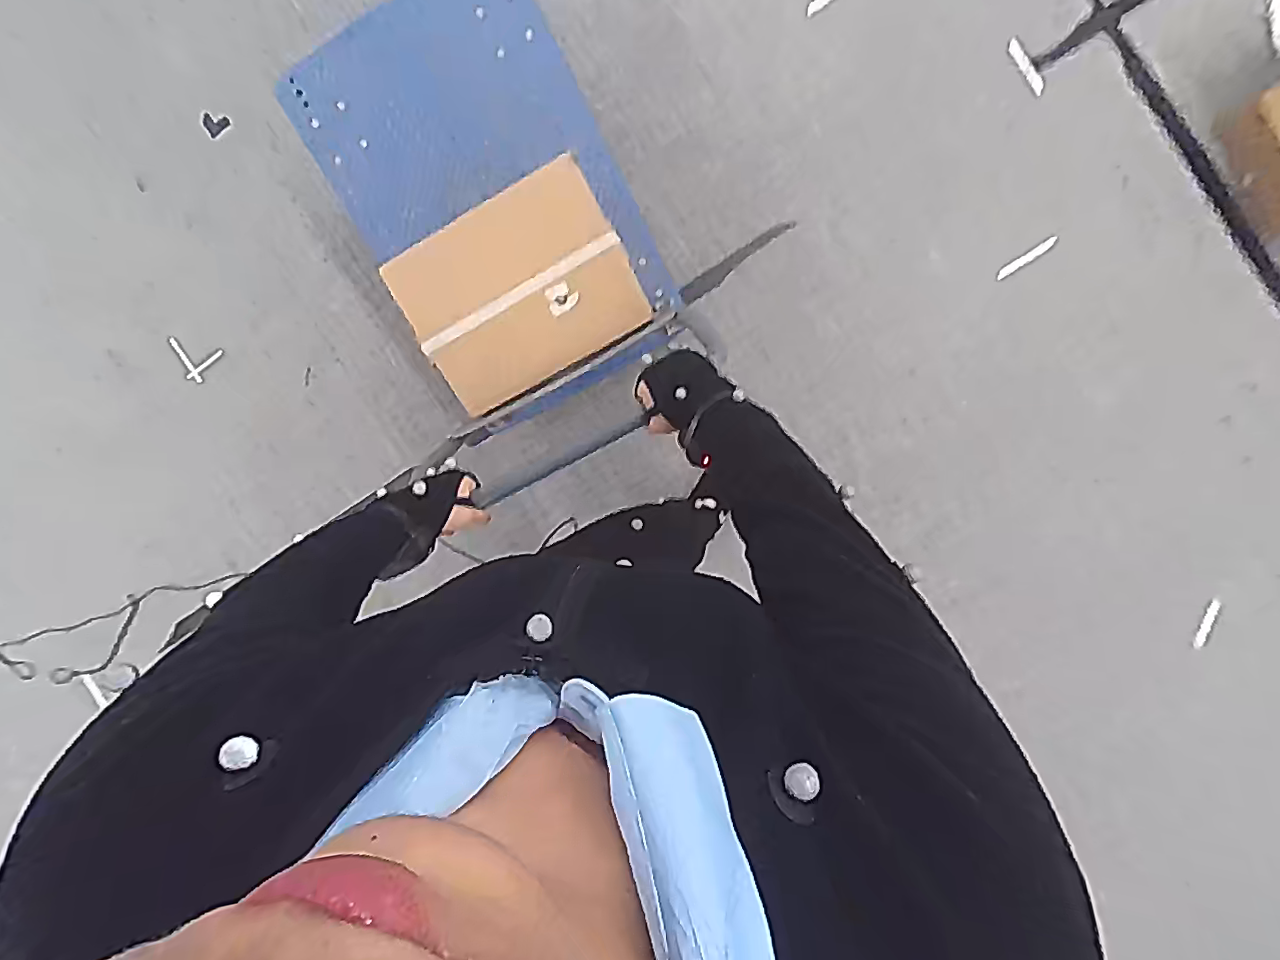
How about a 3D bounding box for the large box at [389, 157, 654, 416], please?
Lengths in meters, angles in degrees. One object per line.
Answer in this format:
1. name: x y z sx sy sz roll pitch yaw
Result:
1. large box: -0.222 -0.382 1.144 0.408 0.320 0.320 -29 105 6
